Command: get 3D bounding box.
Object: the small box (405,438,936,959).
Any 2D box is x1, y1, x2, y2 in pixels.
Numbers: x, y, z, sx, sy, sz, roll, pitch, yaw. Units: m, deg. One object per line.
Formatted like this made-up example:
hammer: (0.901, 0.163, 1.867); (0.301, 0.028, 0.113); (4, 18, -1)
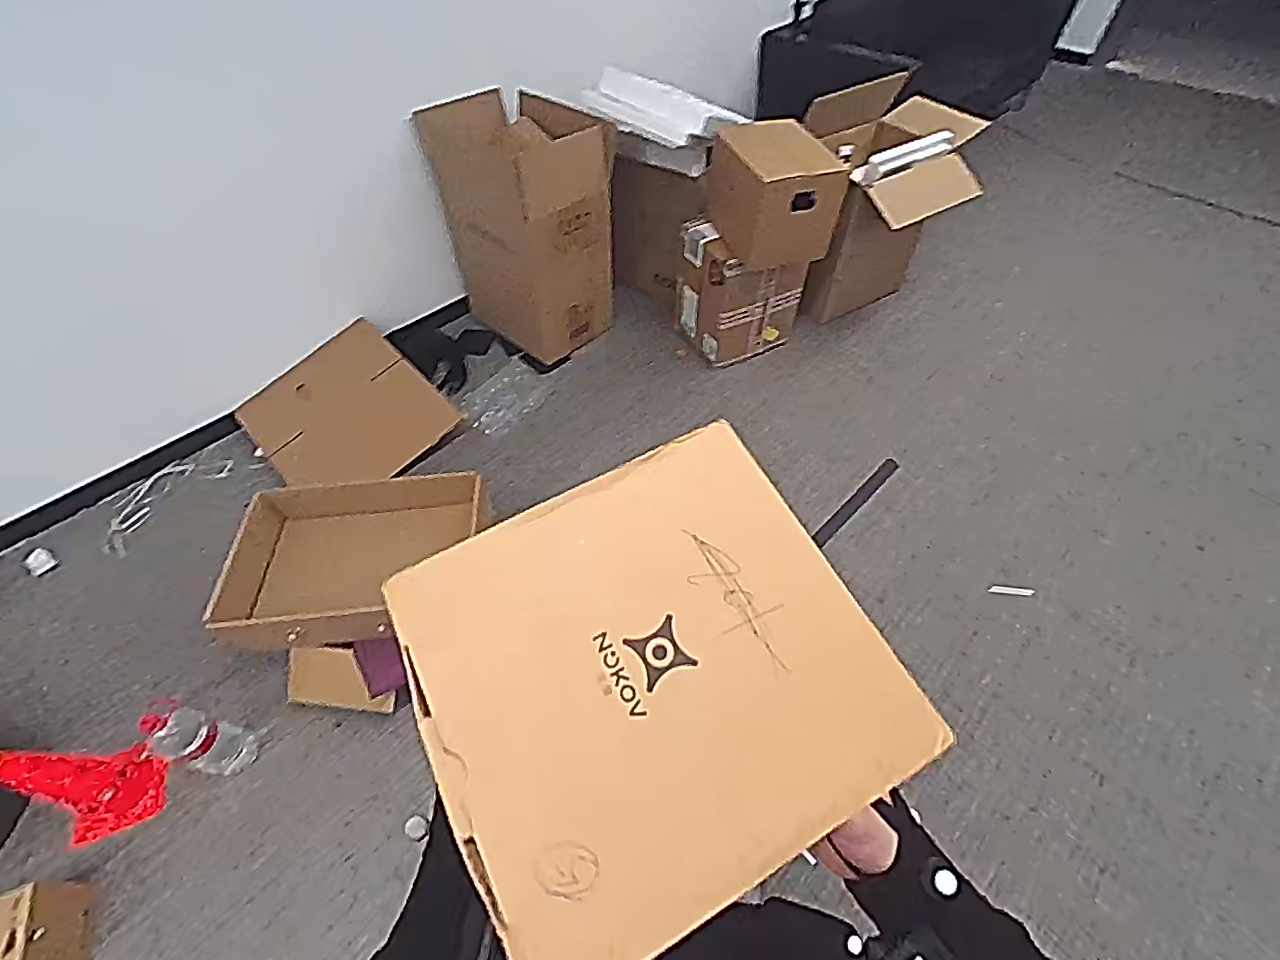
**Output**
small box: (0.008, 0.113, 0.300); (0.179, 0.176, 0.168); (-27, 68, -13)
